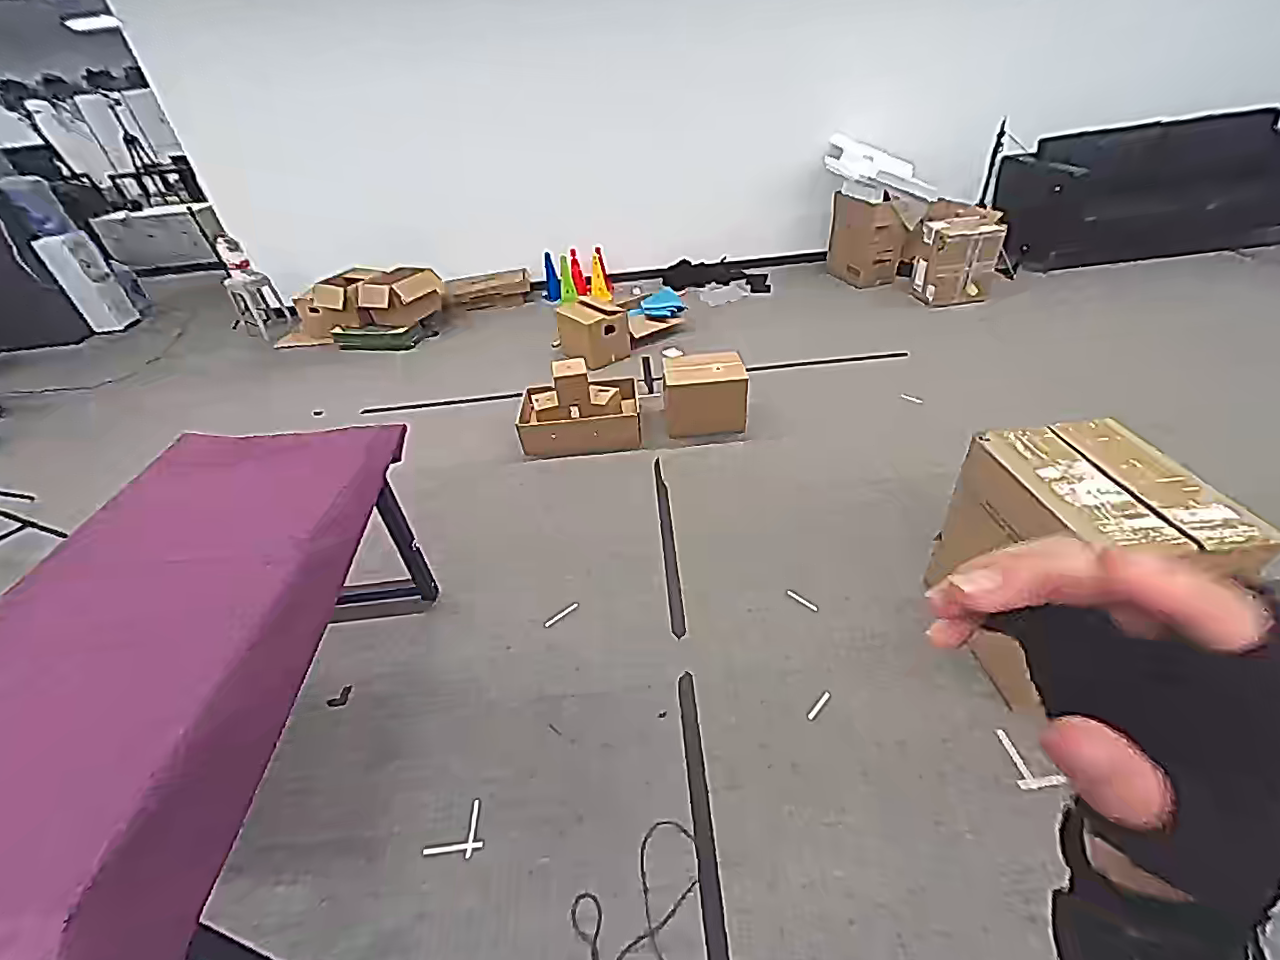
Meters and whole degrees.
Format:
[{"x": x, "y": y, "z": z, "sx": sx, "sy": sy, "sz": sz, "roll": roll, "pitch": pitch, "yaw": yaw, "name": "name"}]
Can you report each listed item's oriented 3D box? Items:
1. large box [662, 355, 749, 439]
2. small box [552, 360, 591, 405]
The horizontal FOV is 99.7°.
[{"x": 0.331, "y": -0.435, "z": 2.820, "sx": 0.408, "sy": 0.320, "sz": 0.320, "roll": -5, "pitch": 38, "yaw": 0, "name": "large box"}, {"x": -0.346, "y": -0.486, "z": 2.734, "sx": 0.168, "sy": 0.176, "sz": 0.179, "roll": -9, "pitch": 36, "yaw": -6, "name": "small box"}]
